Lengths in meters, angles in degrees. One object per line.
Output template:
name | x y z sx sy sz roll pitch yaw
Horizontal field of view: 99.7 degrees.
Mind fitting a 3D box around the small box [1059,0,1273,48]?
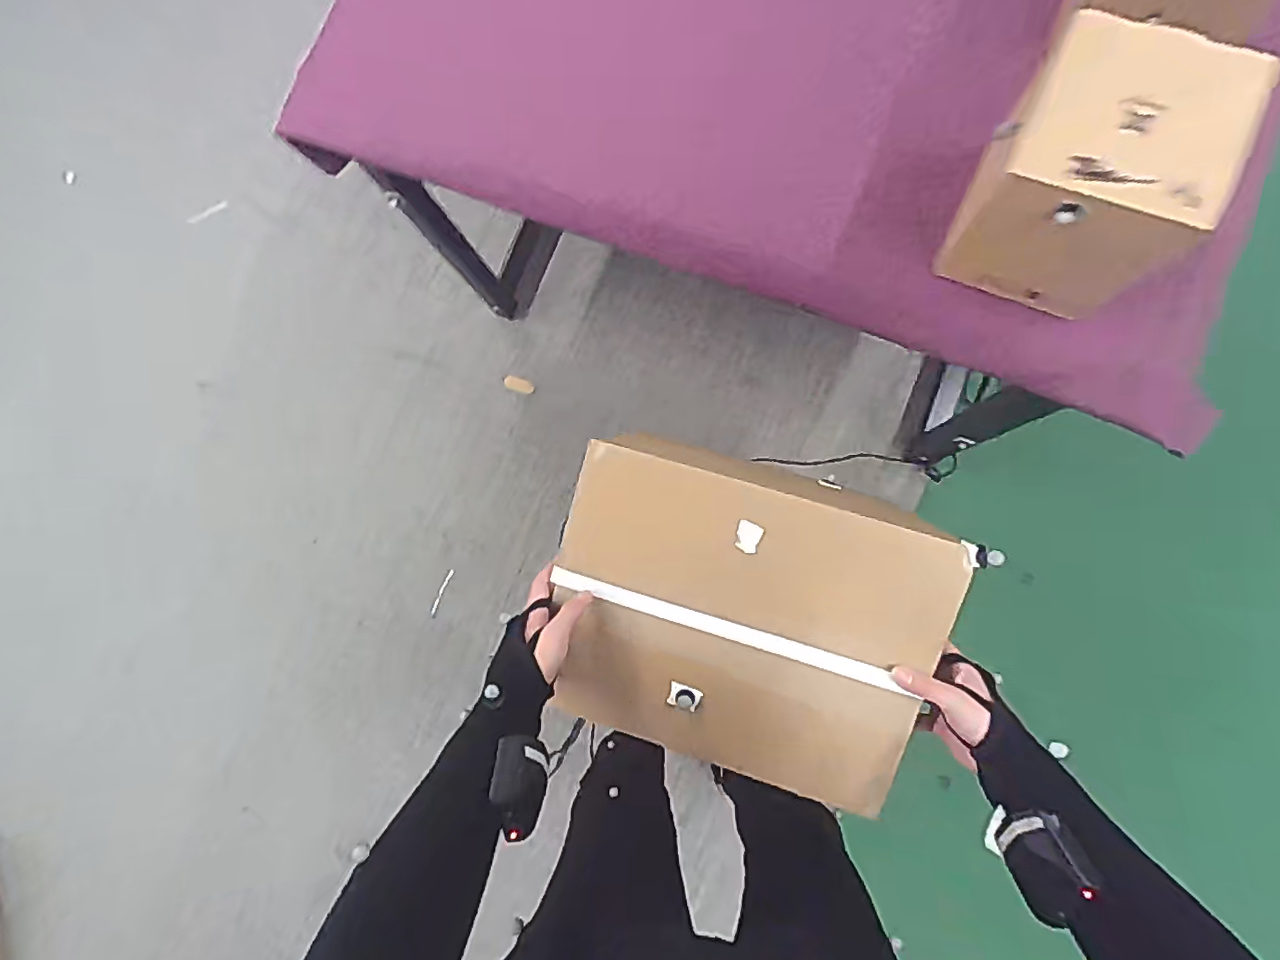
small box | 0.588 -0.578 0.560 0.168 0.176 0.179 25 88 13

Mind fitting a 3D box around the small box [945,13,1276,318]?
small box | 0.443 -0.299 0.544 0.168 0.176 0.179 25 84 12
